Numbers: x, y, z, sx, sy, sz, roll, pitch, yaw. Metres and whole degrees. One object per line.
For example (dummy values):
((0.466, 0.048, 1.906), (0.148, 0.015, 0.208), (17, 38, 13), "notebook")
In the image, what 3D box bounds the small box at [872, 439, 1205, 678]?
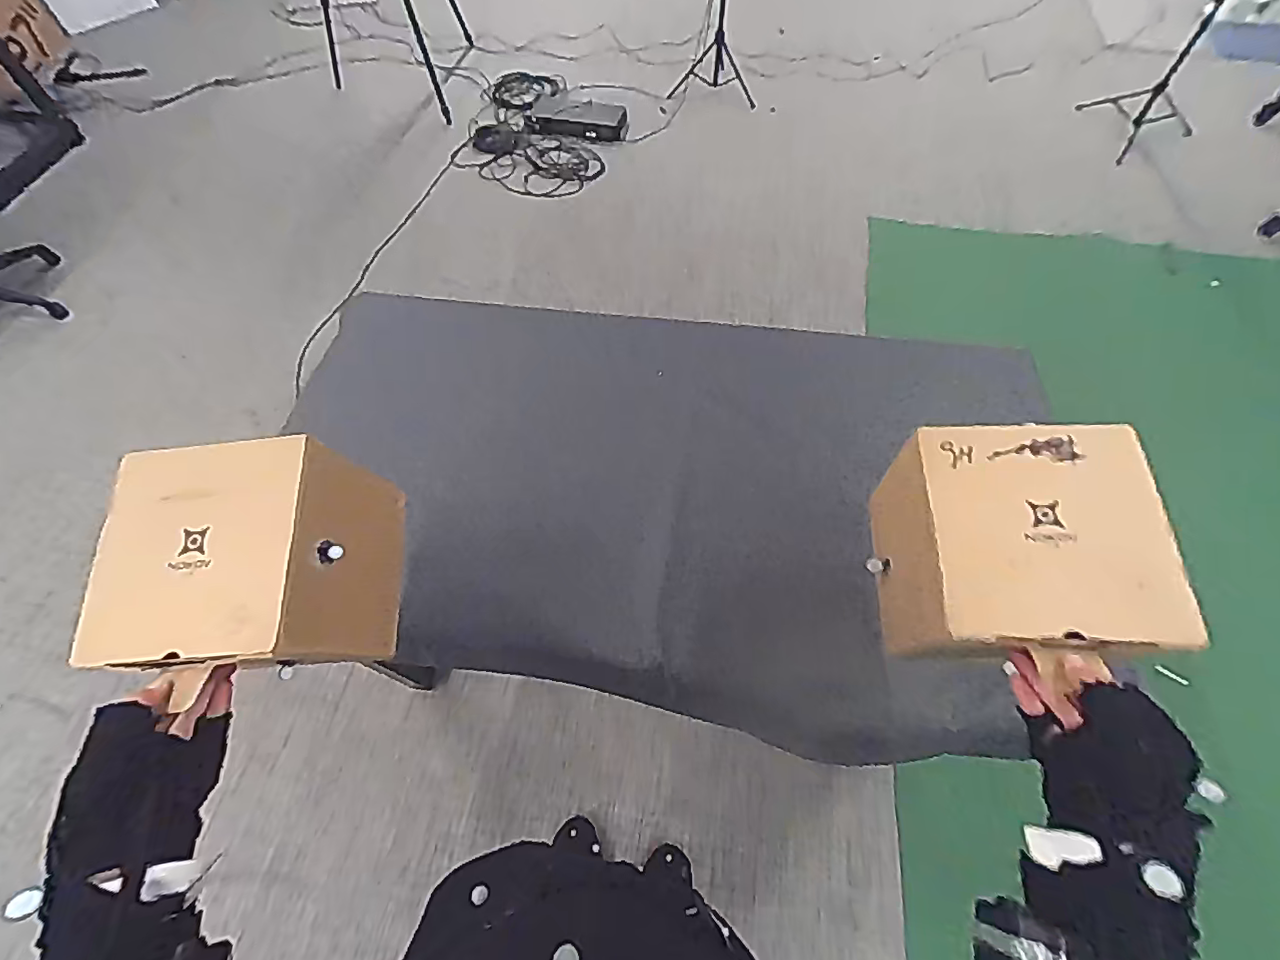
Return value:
((0.318, 0.077, 0.481), (0.168, 0.176, 0.179), (1, 67, 8), "small box")

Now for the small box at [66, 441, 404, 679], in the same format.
((-0.336, 0.082, 0.492), (0.168, 0.176, 0.179), (-5, 70, 3), "small box")
